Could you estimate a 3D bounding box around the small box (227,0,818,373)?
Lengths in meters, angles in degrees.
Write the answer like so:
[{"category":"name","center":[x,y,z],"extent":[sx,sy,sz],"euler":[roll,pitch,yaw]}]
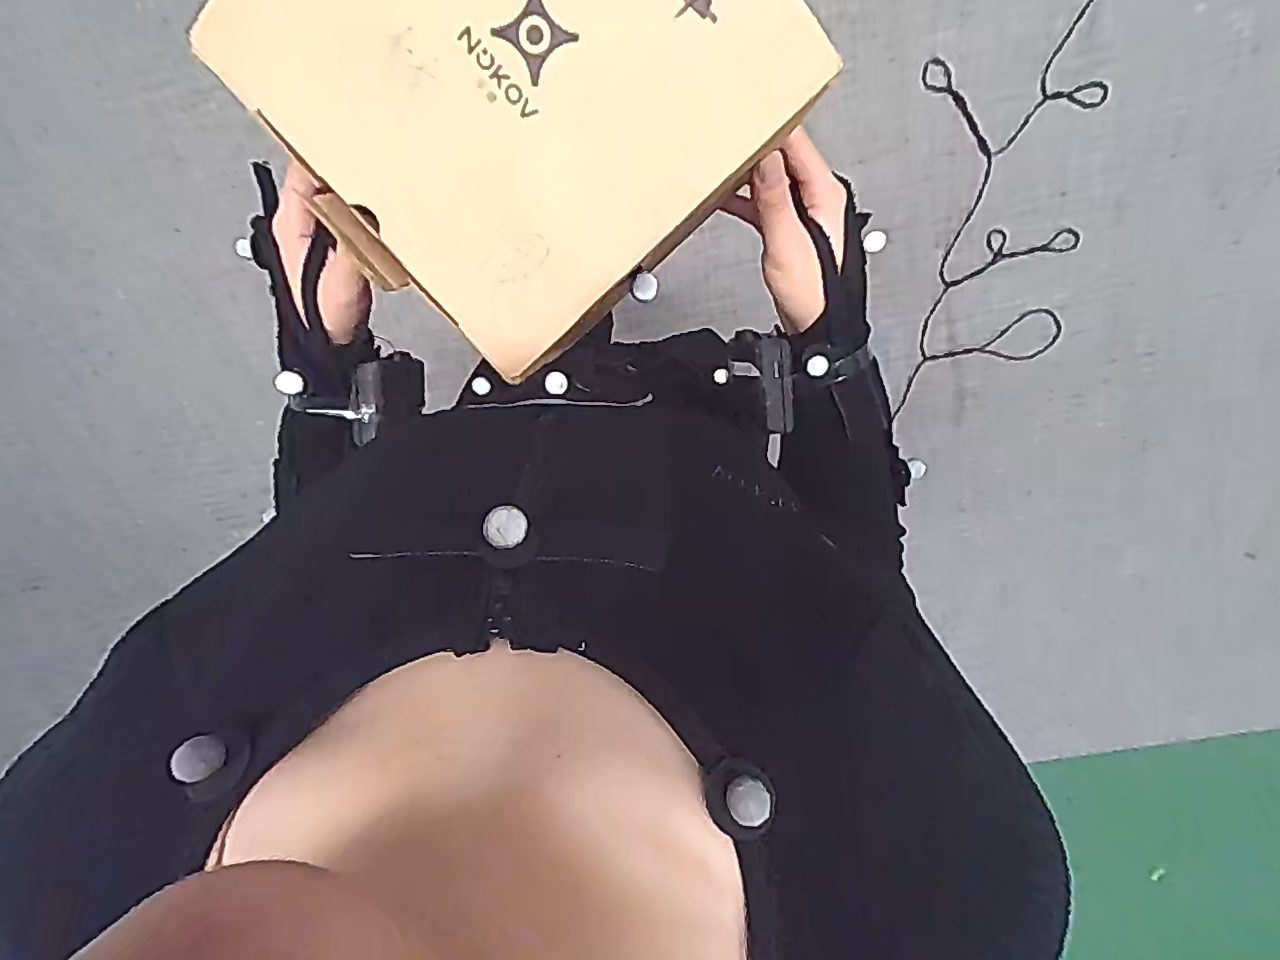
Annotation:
[{"category":"small box","center":[-0.045,-0.180,0.286],"extent":[0.179,0.176,0.168],"euler":[-40,103,10]}]
